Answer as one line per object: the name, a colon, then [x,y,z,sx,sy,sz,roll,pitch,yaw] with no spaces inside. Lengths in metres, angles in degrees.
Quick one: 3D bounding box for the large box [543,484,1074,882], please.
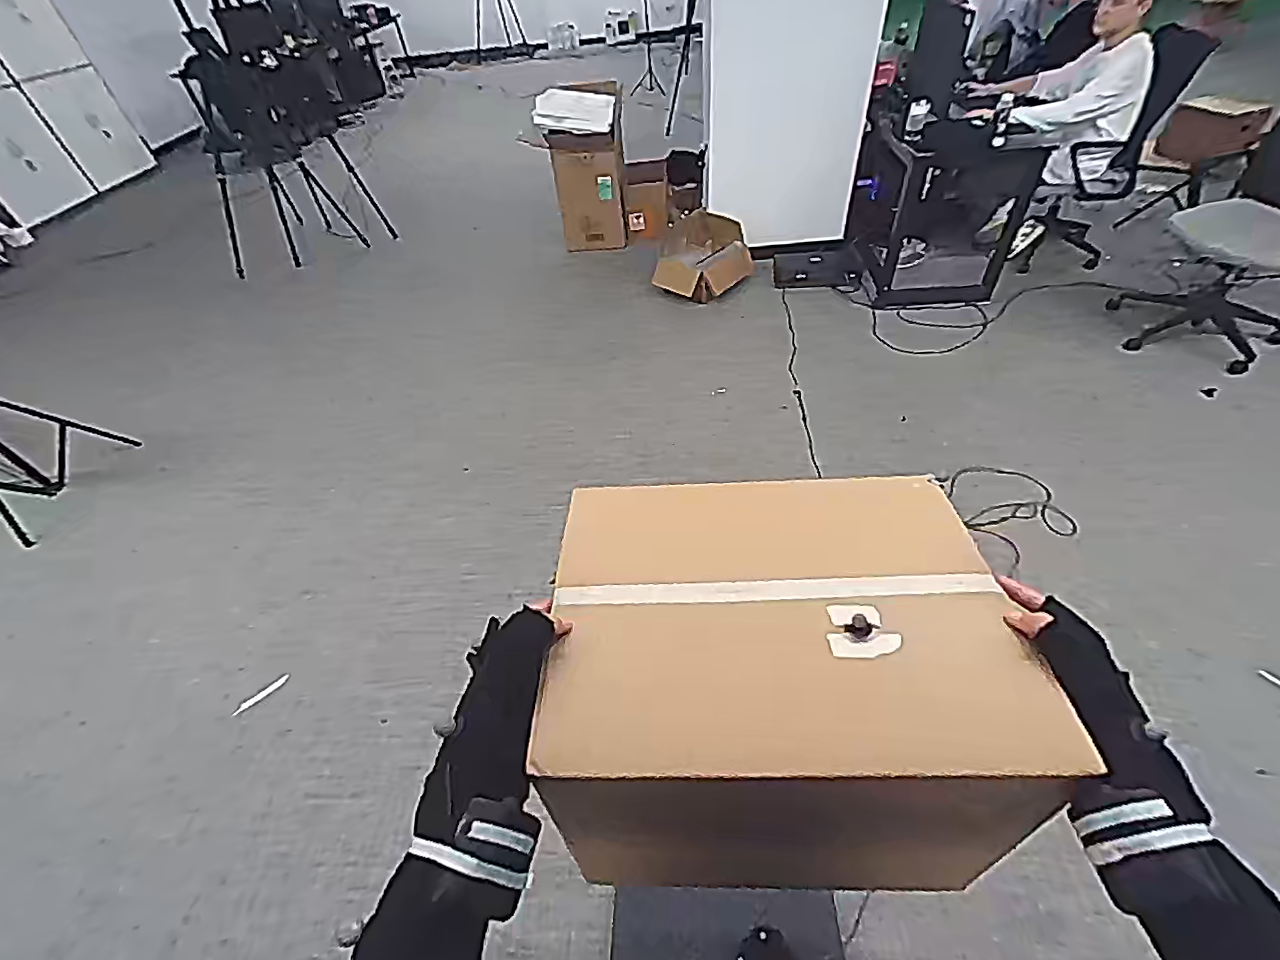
large box: [0.133,0.226,0.611,0.408,0.320,0.320,-2,41,4]
